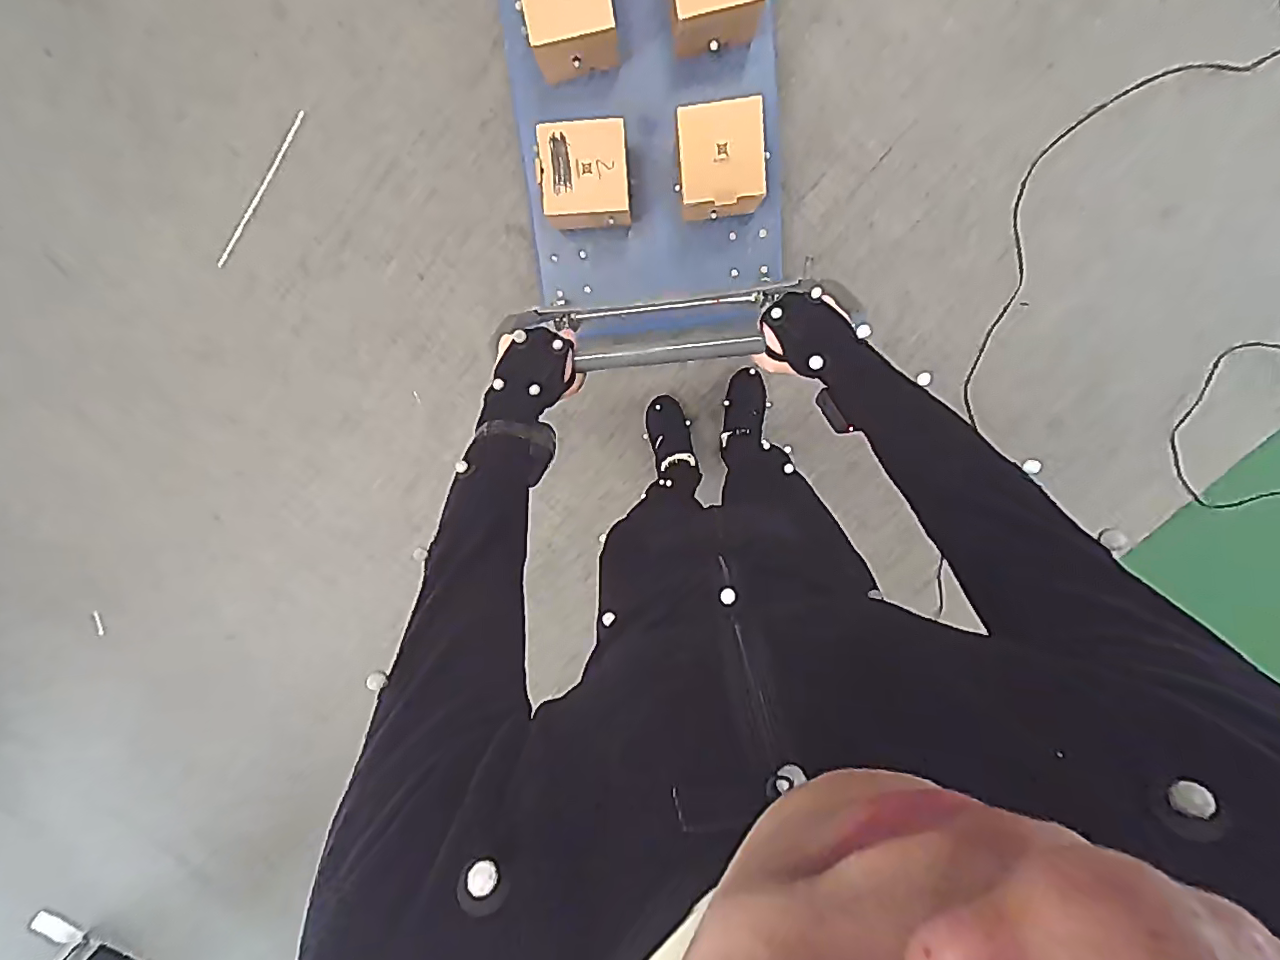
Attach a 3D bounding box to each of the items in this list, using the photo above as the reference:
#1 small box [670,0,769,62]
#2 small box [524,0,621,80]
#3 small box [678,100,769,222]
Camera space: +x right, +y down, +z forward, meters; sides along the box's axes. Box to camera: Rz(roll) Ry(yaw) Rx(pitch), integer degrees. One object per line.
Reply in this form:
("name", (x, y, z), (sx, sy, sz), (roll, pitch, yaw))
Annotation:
("small box", (0.143, -0.960, 1.044), (0.168, 0.176, 0.179), (-10, 107, 5))
("small box", (-0.133, -0.924, 1.063), (0.168, 0.176, 0.179), (-9, 106, 4))
("small box", (0.169, -0.657, 1.133), (0.168, 0.176, 0.179), (-6, 107, 4))
